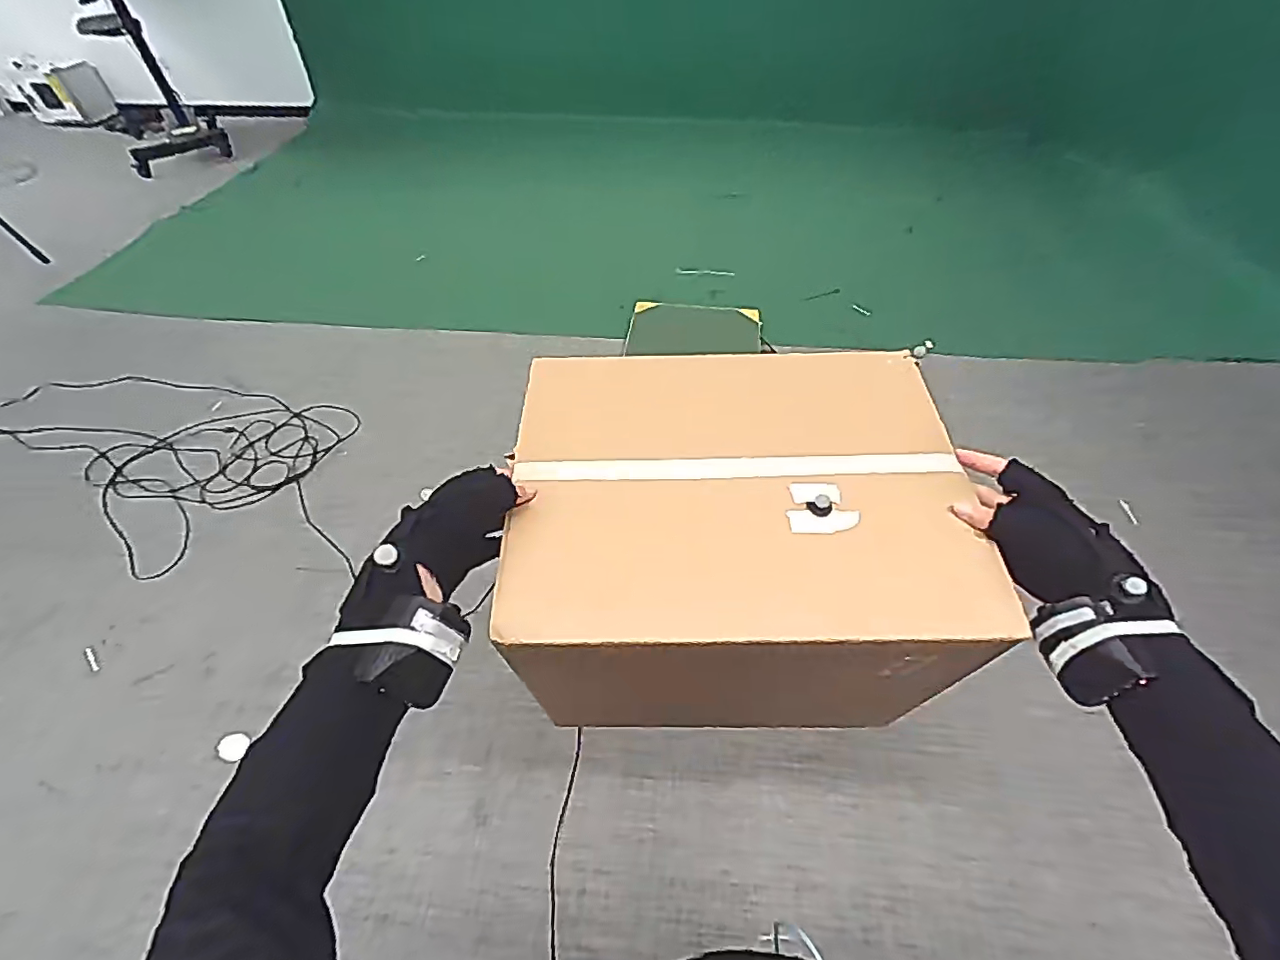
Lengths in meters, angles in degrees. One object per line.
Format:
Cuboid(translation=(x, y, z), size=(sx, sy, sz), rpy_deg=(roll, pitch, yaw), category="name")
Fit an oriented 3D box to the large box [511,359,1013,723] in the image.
Cuboid(translation=(0.093, 0.082, 0.627), size=(0.408, 0.320, 0.320), rpy_deg=(-1, 55, 0), category="large box")
